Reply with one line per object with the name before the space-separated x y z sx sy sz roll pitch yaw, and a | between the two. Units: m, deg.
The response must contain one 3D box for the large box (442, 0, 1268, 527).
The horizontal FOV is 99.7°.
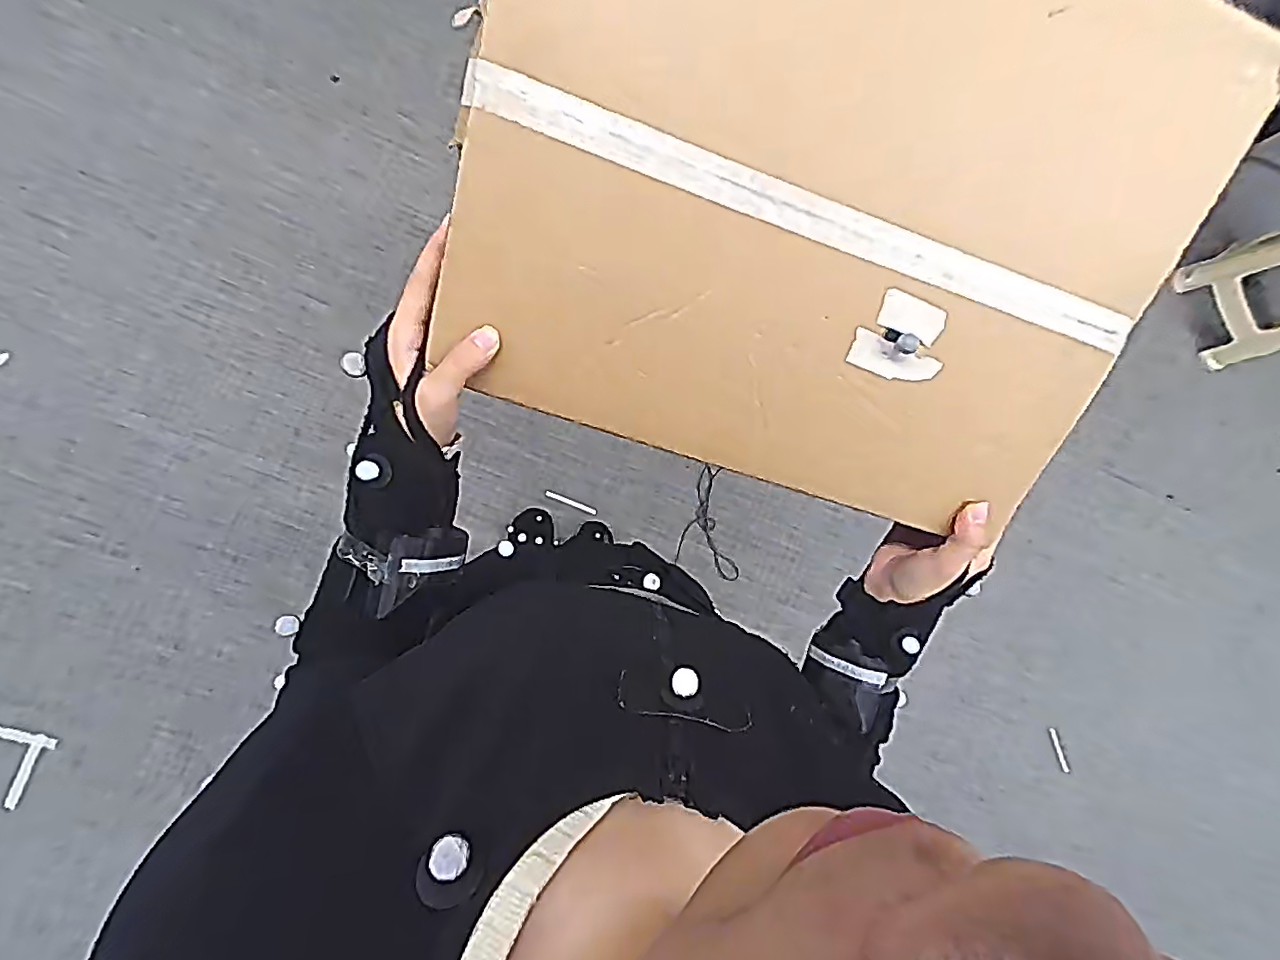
large box | 0.099 -0.204 0.449 0.408 0.320 0.320 16 111 -10
